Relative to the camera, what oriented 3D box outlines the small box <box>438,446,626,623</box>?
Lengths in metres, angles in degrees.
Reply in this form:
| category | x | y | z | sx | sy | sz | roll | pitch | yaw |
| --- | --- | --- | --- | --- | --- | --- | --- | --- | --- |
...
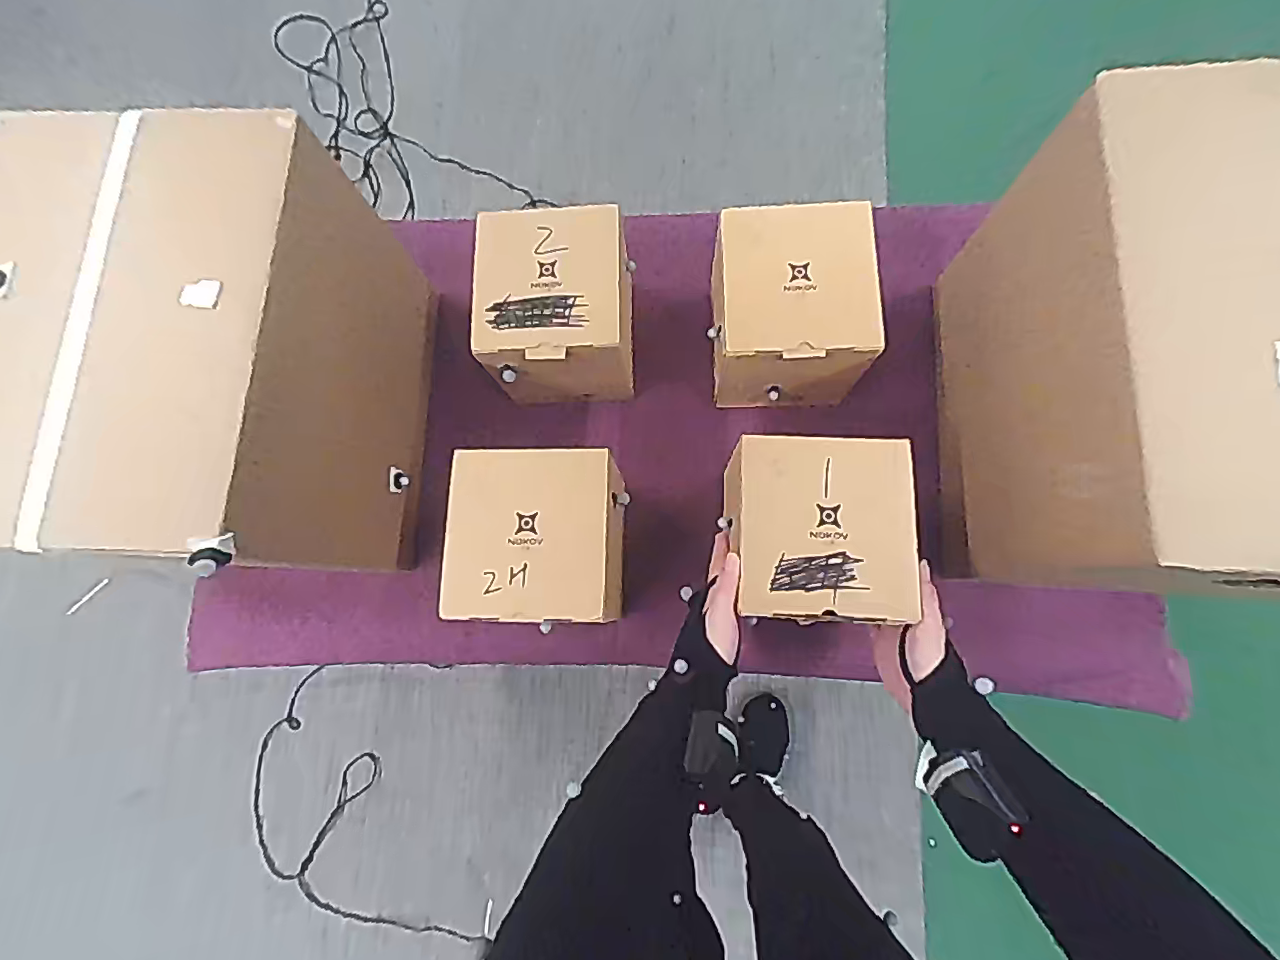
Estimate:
| category | x | y | z | sx | sy | sz | roll | pitch | yaw |
| --- | --- | --- | --- | --- | --- | --- | --- | --- | --- |
| small box | -0.107 | 0.069 | 0.613 | 0.168 | 0.176 | 0.179 | 0 | 77 | 4 |

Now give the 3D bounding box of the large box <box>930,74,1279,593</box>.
| category | x | y | z | sx | sy | sz | roll | pitch | yaw |
| --- | --- | --- | --- | --- | --- | --- | --- | --- | --- |
| large box | 0.523 | -0.098 | 0.539 | 0.320 | 0.320 | 0.408 | 2 | 79 | 6 |
